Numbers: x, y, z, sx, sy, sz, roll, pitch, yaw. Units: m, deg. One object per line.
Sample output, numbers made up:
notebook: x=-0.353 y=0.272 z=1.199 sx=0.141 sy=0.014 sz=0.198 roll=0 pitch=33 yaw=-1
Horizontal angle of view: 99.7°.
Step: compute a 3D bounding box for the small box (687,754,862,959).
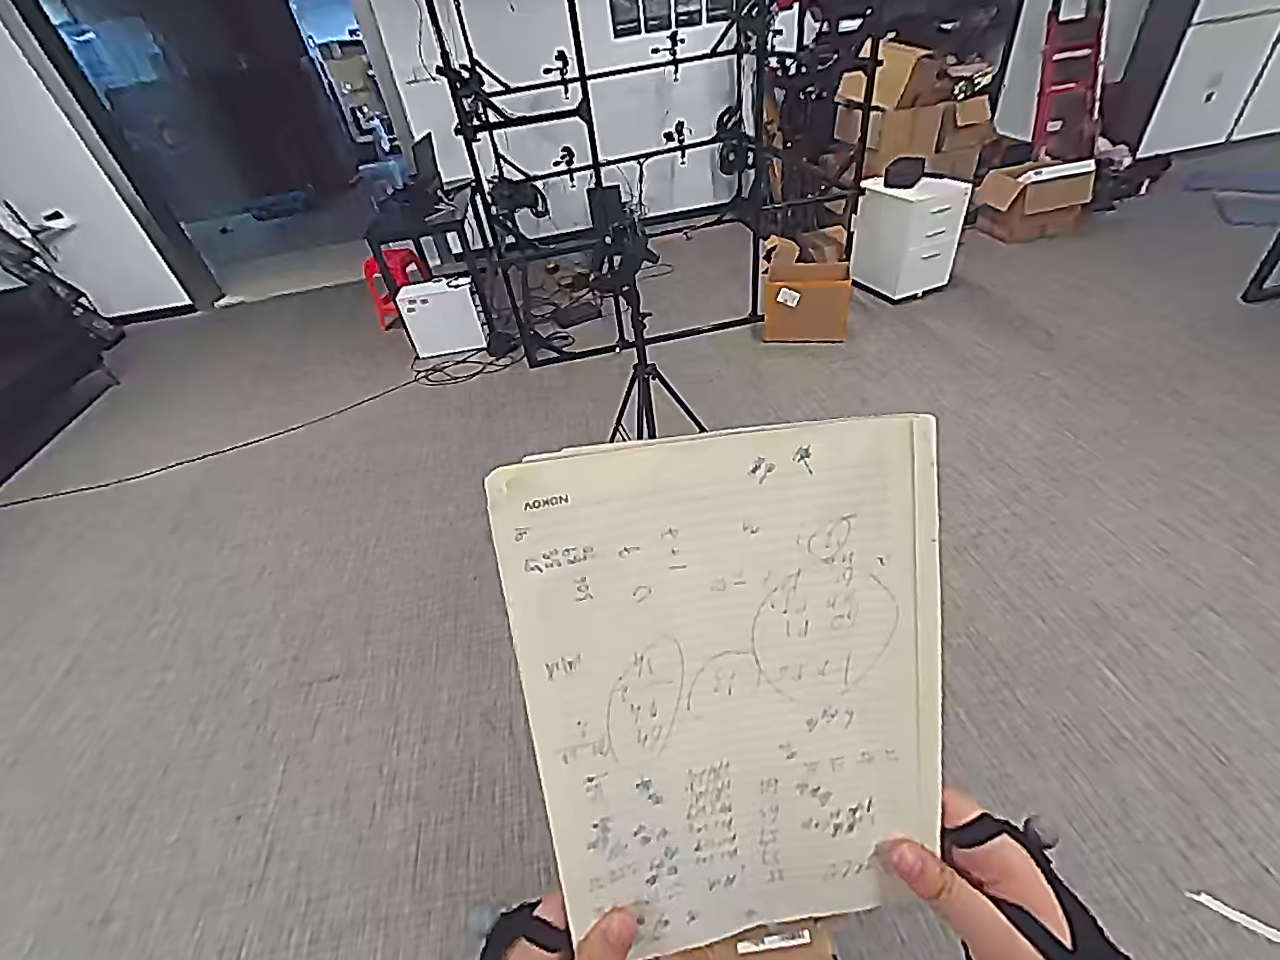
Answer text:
small box: x=0.149 y=0.470 z=0.674 sx=0.168 sy=0.176 sz=0.179 roll=-6 pitch=42 yaw=0
